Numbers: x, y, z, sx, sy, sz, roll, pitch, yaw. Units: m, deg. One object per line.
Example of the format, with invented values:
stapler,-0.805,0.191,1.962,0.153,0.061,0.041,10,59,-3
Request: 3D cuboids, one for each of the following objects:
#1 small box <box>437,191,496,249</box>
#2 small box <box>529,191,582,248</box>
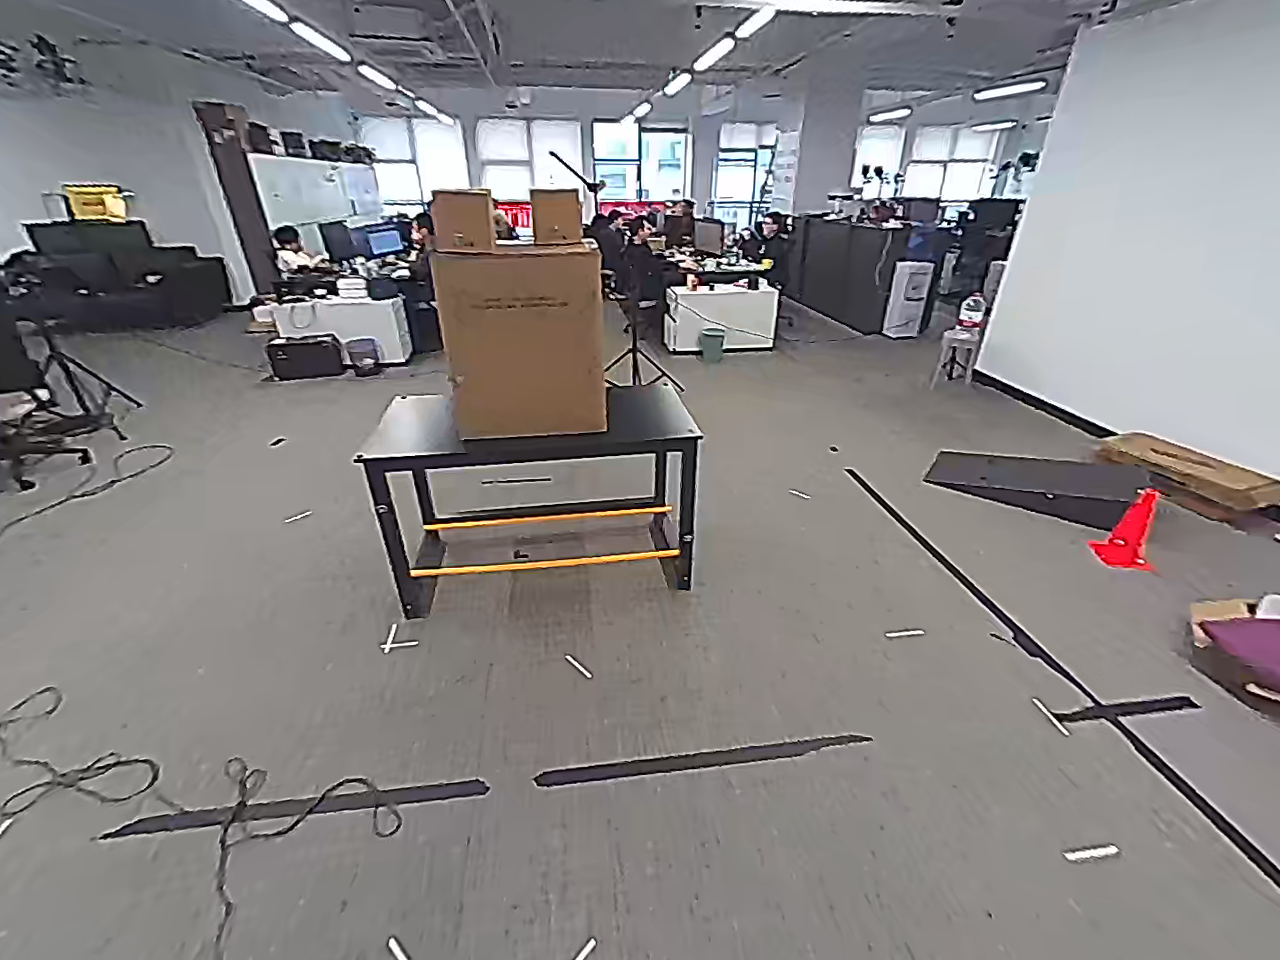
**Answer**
small box,-0.587,-0.890,1.850,0.168,0.176,0.179,-5,27,-9
small box,-0.292,-0.897,1.861,0.168,0.176,0.179,-7,28,-9
